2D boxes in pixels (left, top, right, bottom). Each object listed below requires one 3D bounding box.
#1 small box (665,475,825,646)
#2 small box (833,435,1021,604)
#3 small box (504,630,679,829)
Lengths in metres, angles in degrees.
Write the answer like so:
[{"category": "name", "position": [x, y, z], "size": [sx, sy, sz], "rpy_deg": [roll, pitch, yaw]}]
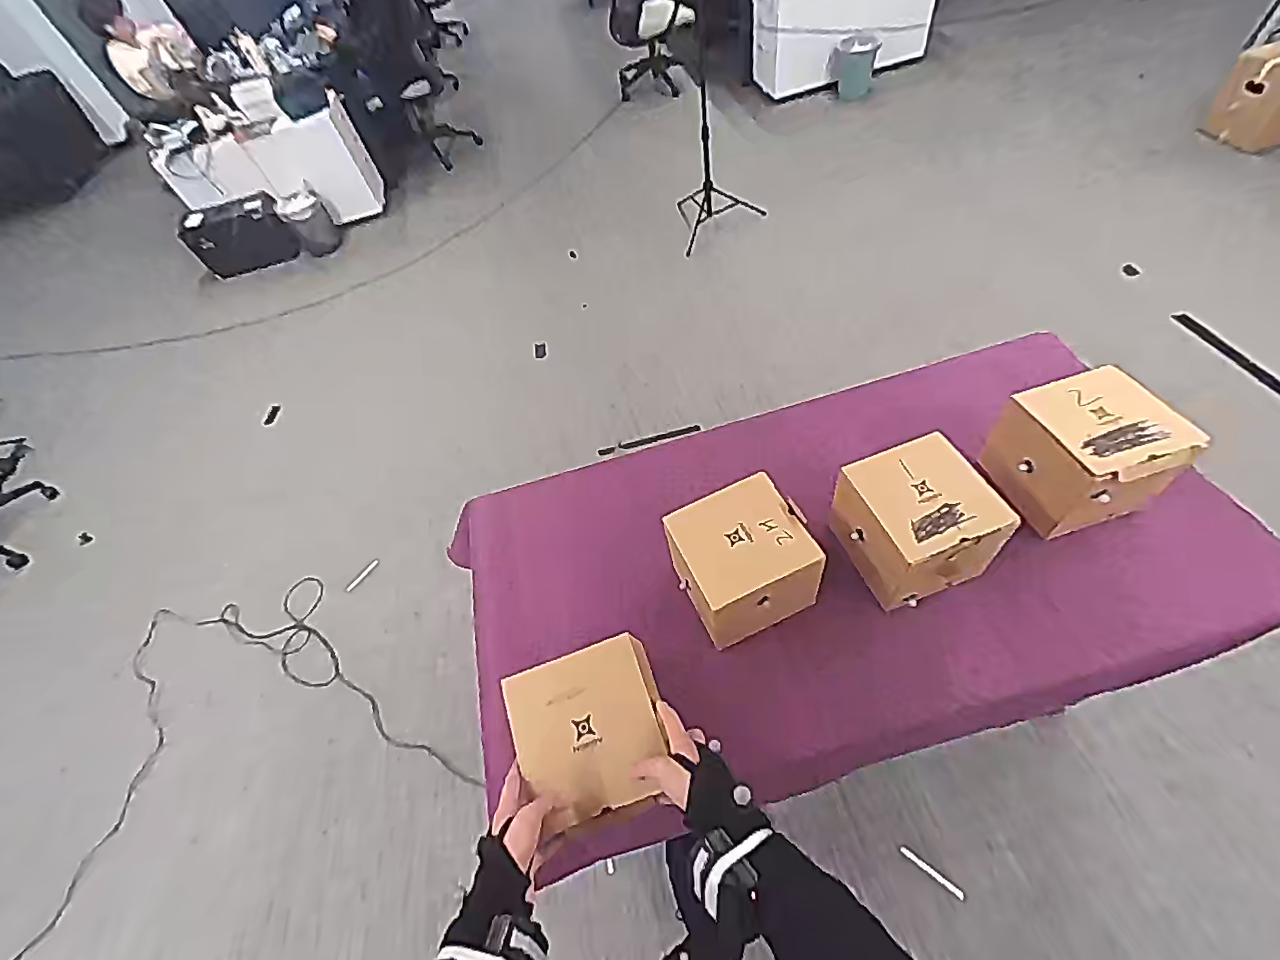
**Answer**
[{"category": "small box", "position": [0.157, 0.129, 0.828], "size": [0.179, 0.176, 0.168], "rpy_deg": [-23, 54, -6]}, {"category": "small box", "position": [0.416, 0.069, 0.820], "size": [0.168, 0.176, 0.179], "rpy_deg": [-20, 53, -3]}, {"category": "small box", "position": [-0.053, 0.311, 0.697], "size": [0.168, 0.176, 0.179], "rpy_deg": [-19, 67, -1]}]
